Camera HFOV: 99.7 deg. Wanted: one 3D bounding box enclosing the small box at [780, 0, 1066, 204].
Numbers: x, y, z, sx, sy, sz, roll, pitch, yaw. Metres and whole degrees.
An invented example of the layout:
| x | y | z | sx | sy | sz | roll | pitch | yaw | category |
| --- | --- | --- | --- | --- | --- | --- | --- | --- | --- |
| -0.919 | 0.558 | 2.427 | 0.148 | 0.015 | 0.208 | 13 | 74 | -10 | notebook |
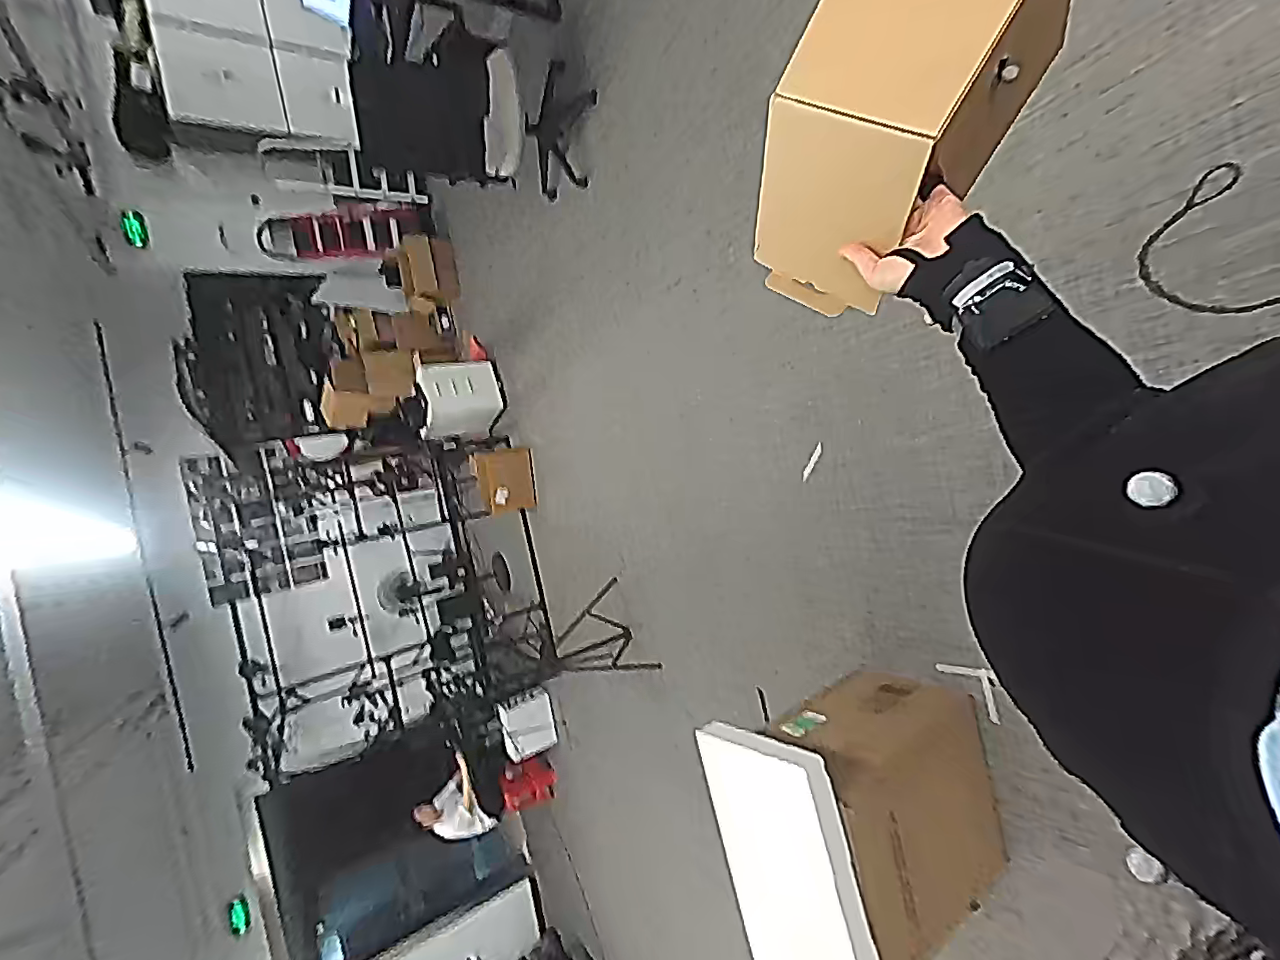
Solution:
| x | y | z | sx | sy | sz | roll | pitch | yaw | category |
| --- | --- | --- | --- | --- | --- | --- | --- | --- | --- |
| 0.270 | -0.397 | 0.512 | 0.168 | 0.176 | 0.179 | 39 | 111 | 27 | small box |
